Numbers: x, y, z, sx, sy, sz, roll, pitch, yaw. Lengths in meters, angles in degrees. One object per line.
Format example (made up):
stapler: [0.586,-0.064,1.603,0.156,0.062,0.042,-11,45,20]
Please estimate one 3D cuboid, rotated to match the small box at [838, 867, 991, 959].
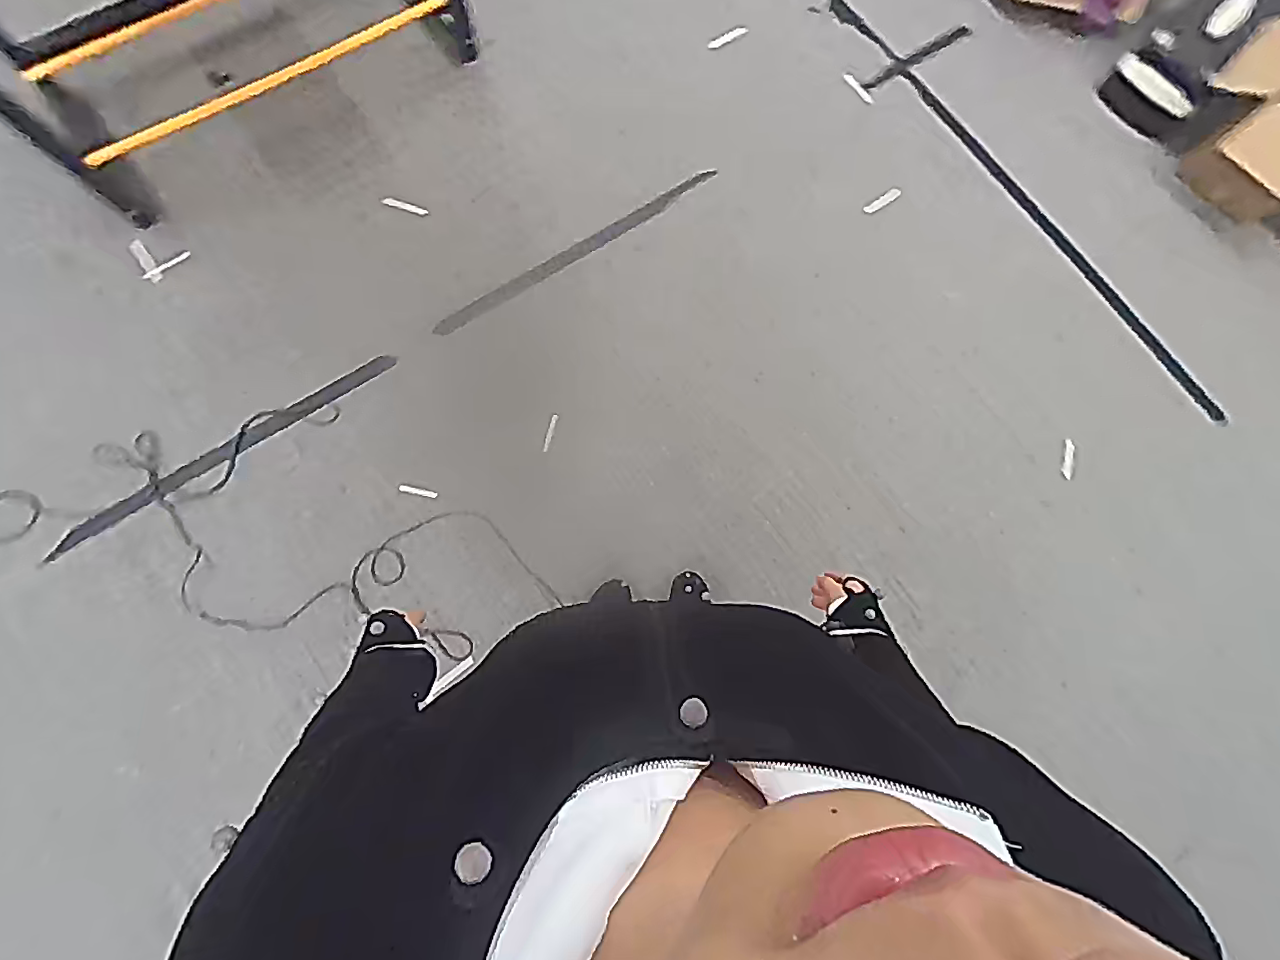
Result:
small box: [0.452,0.766,0.846,0.168,0.176,0.179,-38,80,-12]
